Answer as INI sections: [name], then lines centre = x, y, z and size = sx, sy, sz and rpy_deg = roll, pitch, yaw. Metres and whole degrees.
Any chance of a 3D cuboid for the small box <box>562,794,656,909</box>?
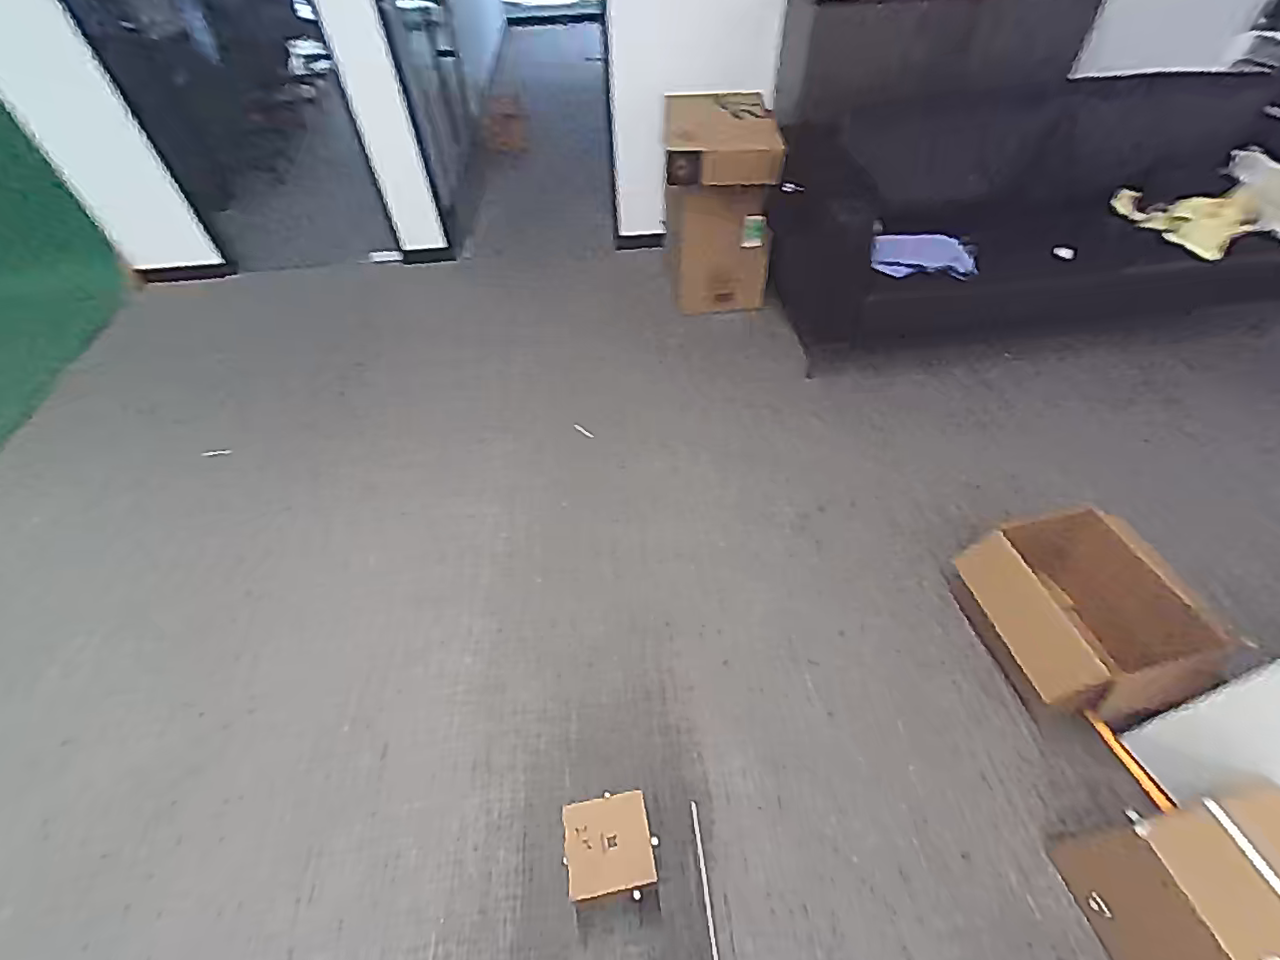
[small box]
centre = -0.066, 0.793, 1.153
size = 0.179, 0.176, 0.168
rpy_deg = -8, 48, -6
